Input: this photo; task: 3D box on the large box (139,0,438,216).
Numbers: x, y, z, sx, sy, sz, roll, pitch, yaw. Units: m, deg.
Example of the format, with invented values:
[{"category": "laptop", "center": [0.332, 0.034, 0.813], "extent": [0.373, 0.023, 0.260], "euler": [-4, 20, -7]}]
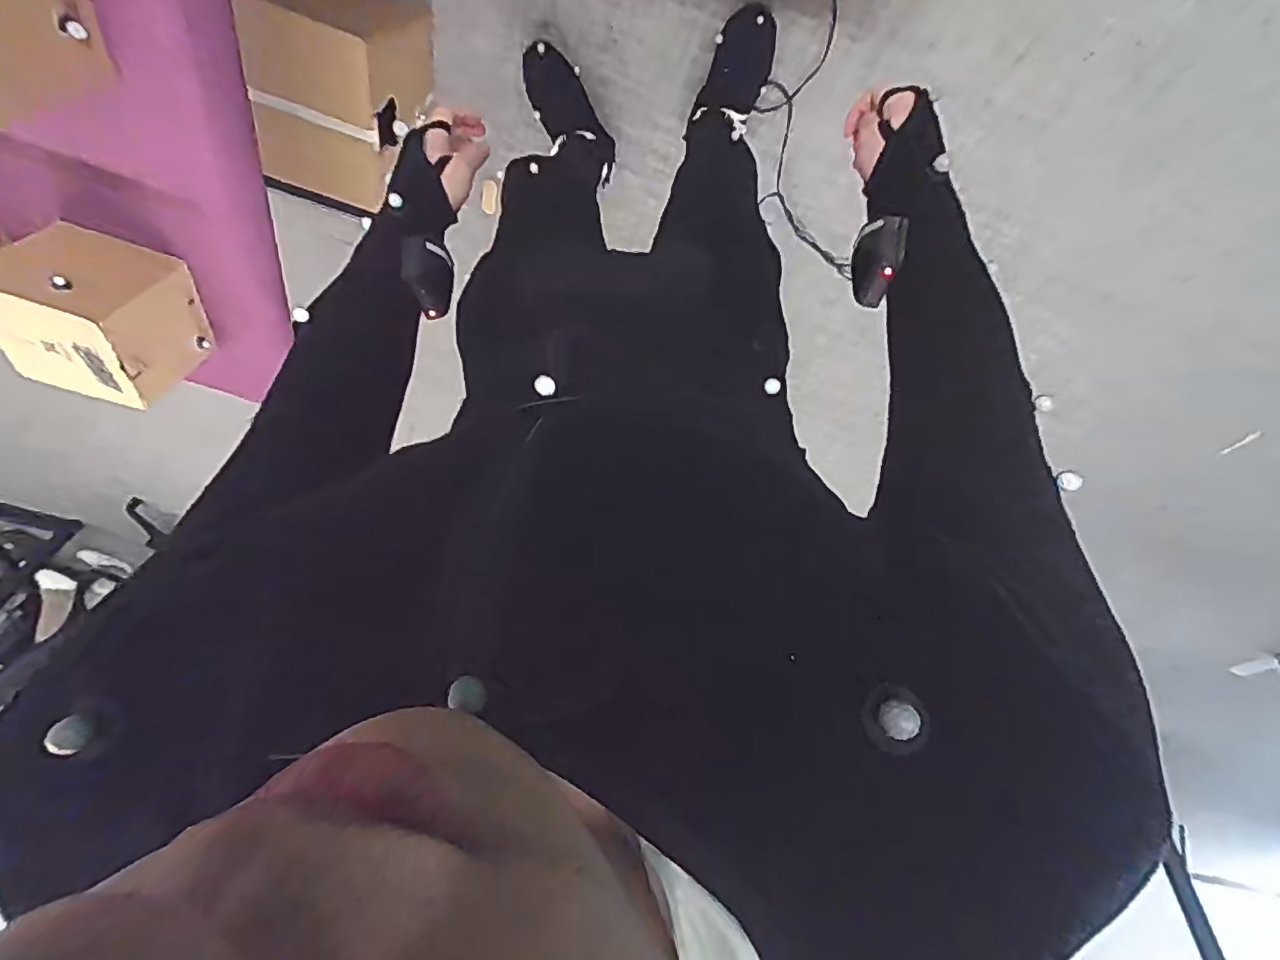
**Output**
[{"category": "large box", "center": [-0.674, -0.818, 1.120], "extent": [0.408, 0.320, 0.320], "euler": [17, 137, -6]}]

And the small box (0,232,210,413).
[{"category": "small box", "center": [-0.779, -0.232, 0.792], "extent": [0.179, 0.176, 0.168], "euler": [18, 137, -7]}]
